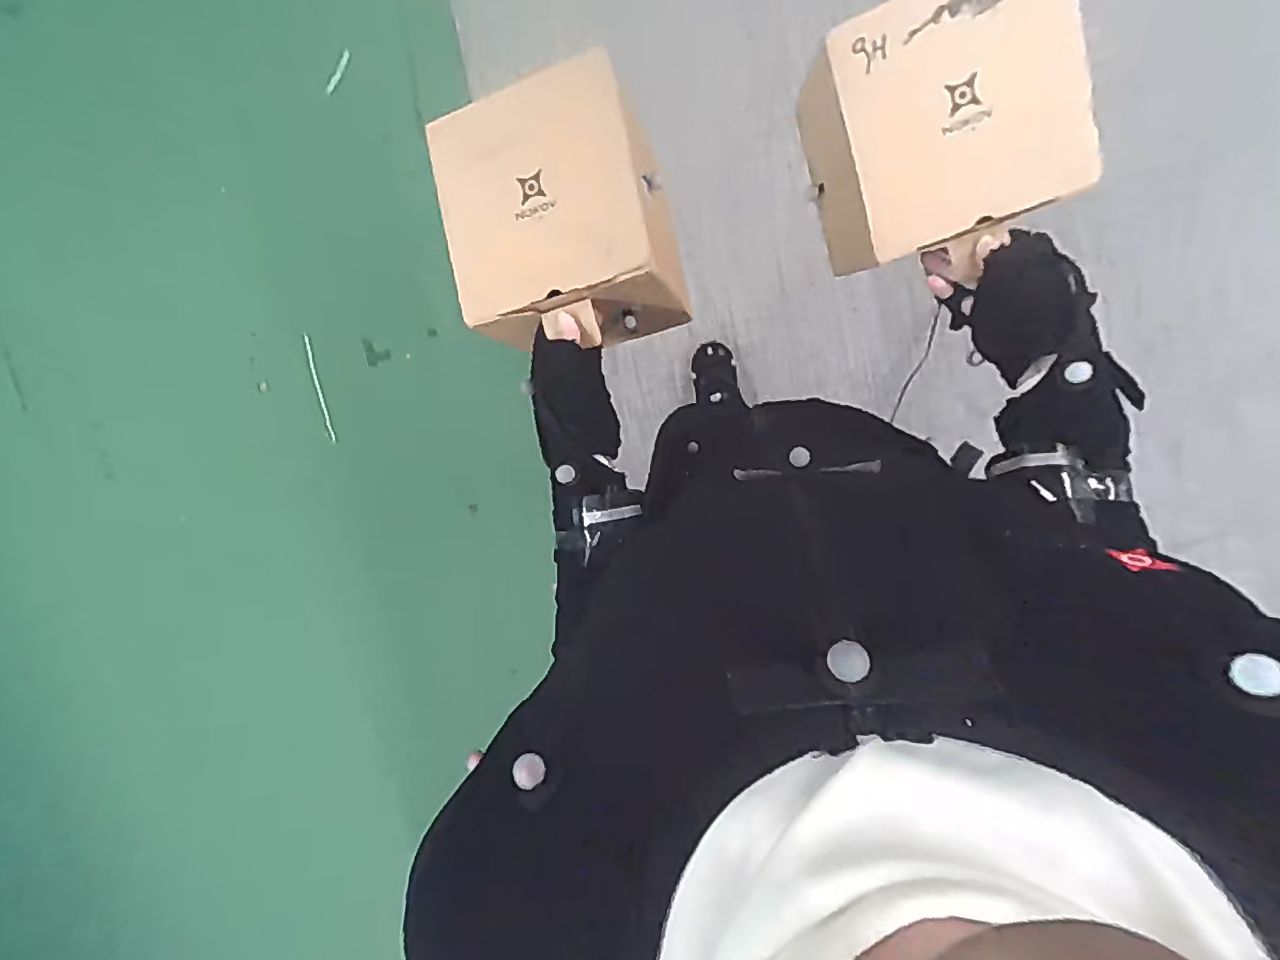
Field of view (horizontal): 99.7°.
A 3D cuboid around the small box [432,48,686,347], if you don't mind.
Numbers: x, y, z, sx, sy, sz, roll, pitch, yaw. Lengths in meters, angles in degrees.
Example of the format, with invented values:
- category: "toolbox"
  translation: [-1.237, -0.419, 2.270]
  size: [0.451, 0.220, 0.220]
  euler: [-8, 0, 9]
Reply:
- category: "small box"
  translation: [-0.062, -0.236, 0.512]
  size: [0.168, 0.176, 0.179]
  euler: [-12, 88, 16]
